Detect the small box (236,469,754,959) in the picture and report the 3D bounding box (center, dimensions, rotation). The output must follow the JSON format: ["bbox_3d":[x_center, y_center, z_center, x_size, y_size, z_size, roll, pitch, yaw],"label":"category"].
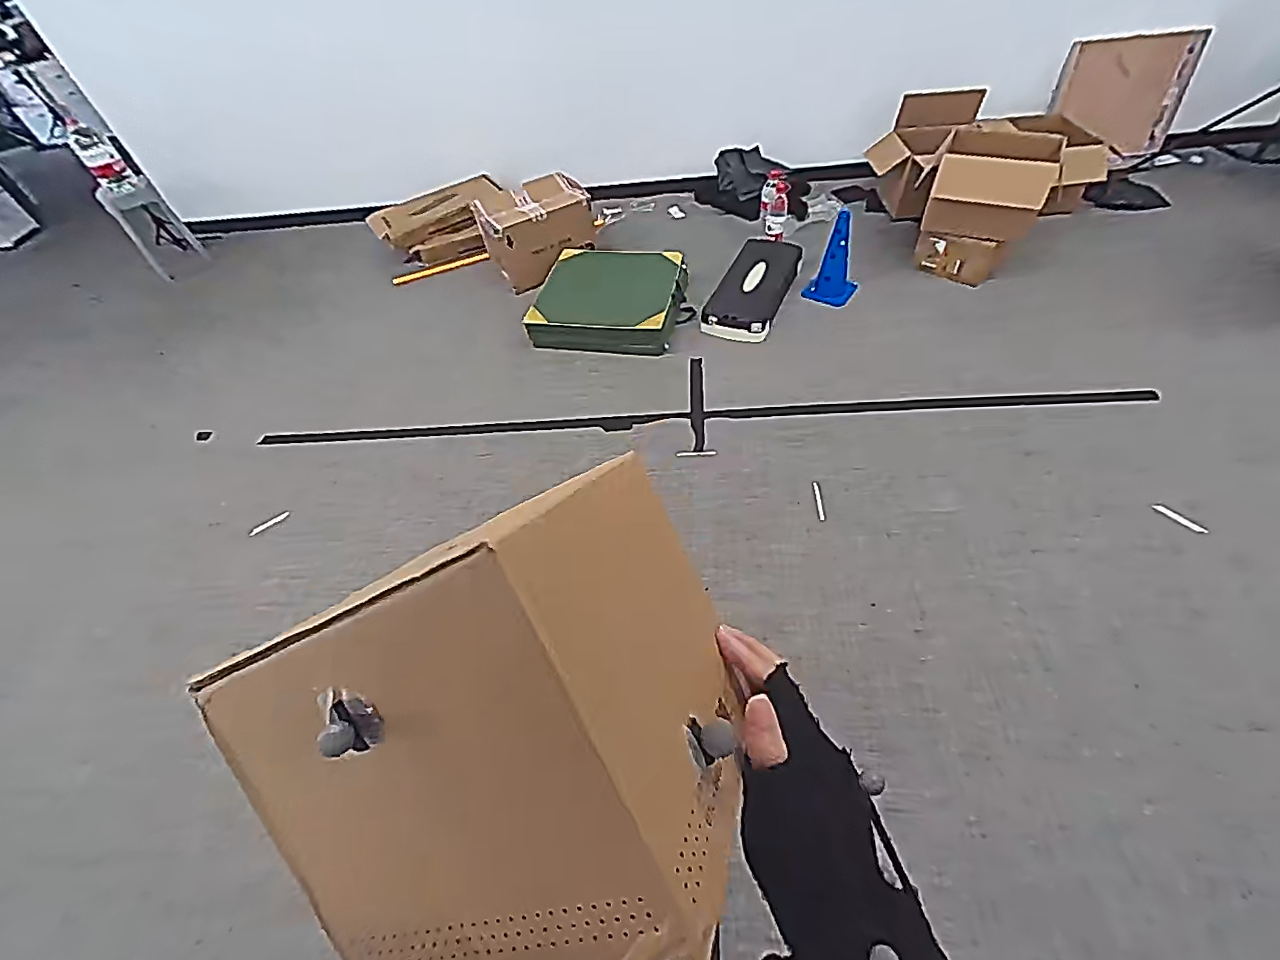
[{"bbox_3d":[-0.060,0.117,0.299,0.179,0.176,0.168,-26,4,21],"label":"small box"}]
